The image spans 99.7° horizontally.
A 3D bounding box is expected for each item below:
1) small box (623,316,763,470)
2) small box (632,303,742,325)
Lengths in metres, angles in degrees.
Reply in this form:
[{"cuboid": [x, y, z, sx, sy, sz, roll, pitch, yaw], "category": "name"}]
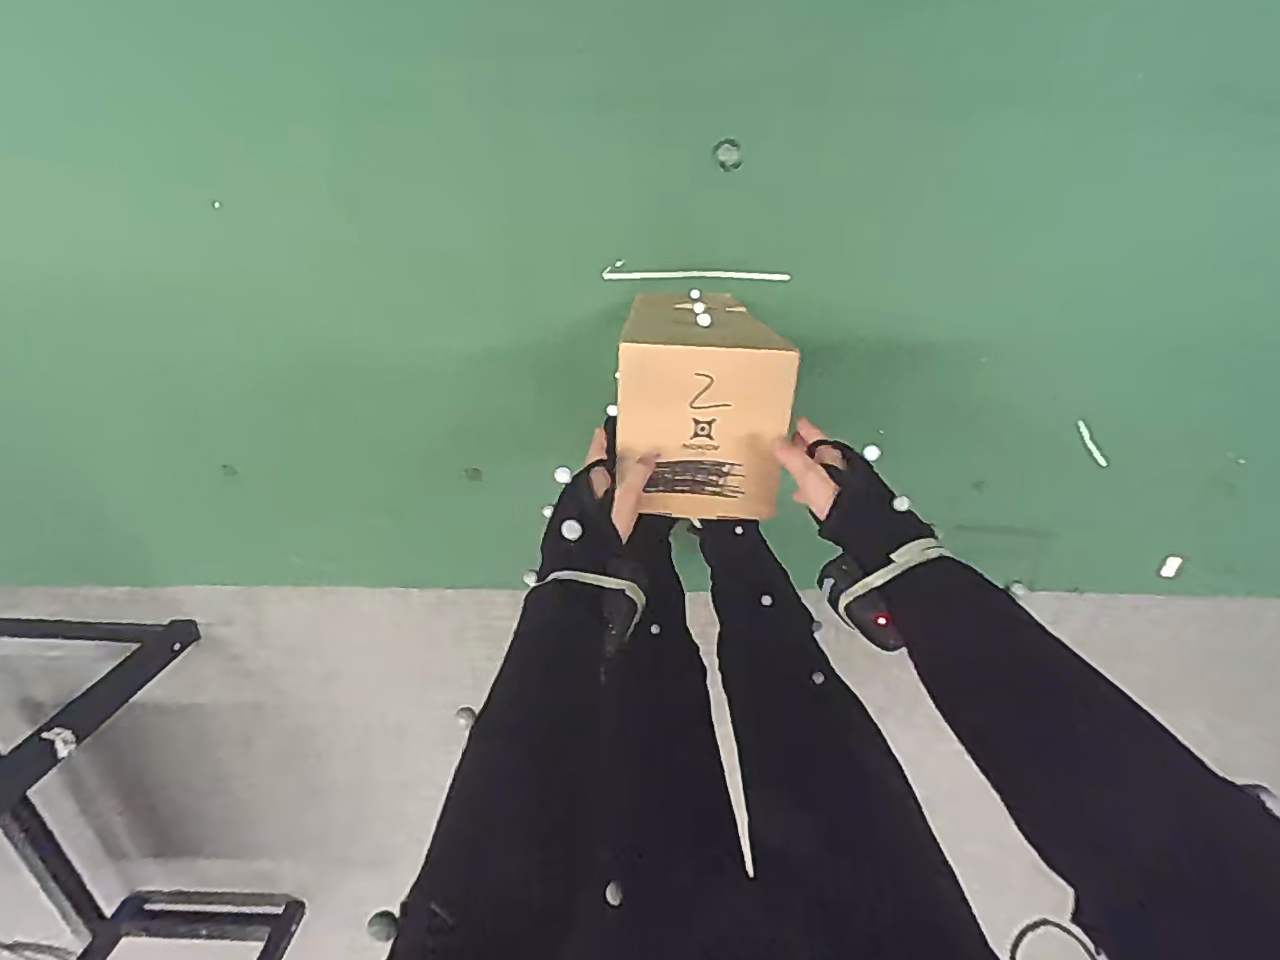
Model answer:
[{"cuboid": [0.065, -0.129, 0.751, 0.168, 0.176, 0.179, 3, 114, 1], "category": "small box"}, {"cuboid": [0.073, -0.195, 0.902, 0.168, 0.176, 0.179, 1, 113, 2], "category": "small box"}]
